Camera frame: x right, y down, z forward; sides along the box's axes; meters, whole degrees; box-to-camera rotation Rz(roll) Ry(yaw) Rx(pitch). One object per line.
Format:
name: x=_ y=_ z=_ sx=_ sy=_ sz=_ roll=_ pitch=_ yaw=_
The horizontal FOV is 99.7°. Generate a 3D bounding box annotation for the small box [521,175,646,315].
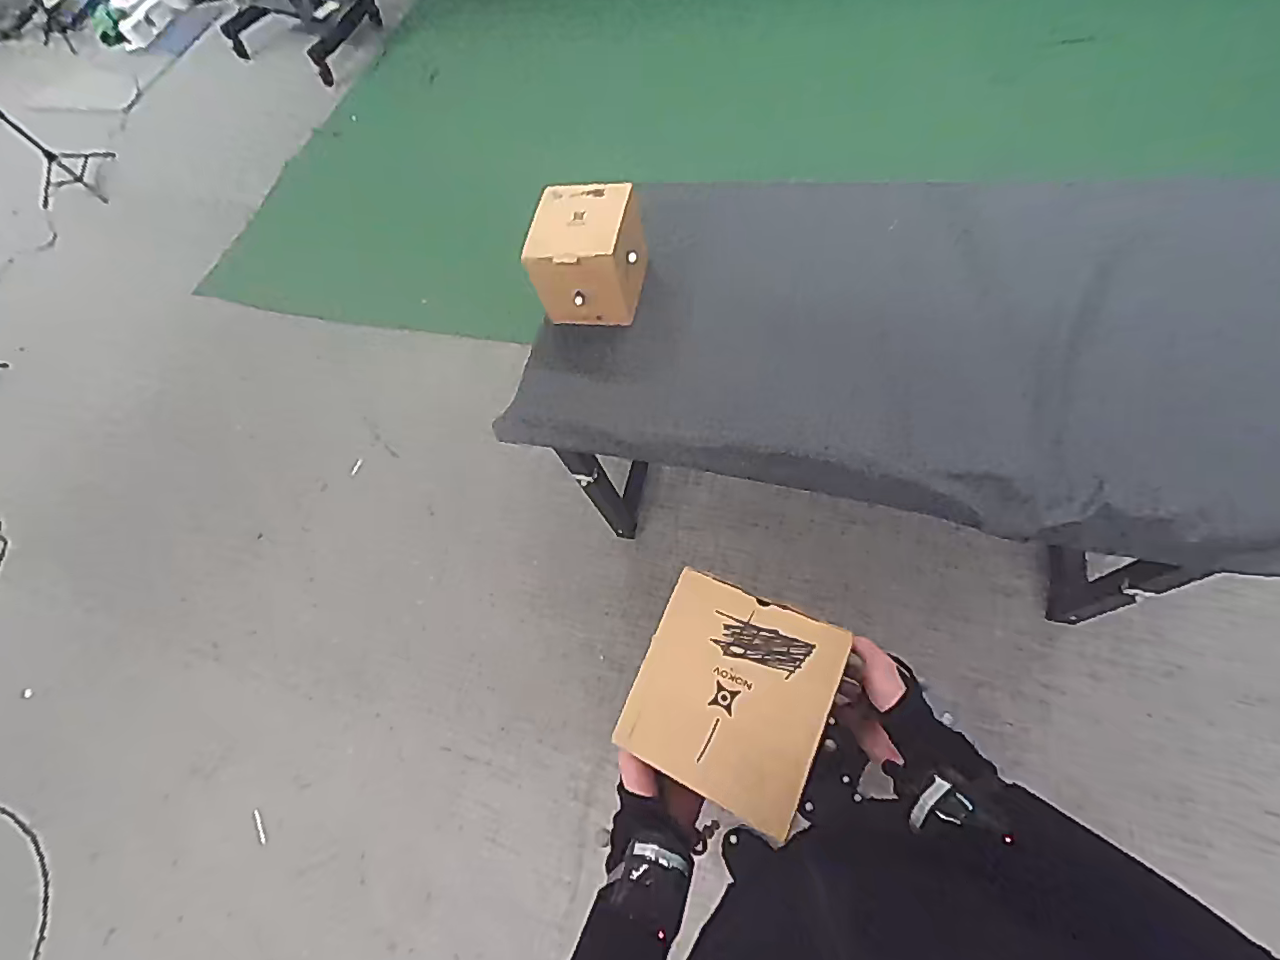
small box: x=-0.092 y=-0.423 z=0.993 sx=0.168 sy=0.176 sz=0.179 roll=6 pitch=68 yaw=14
